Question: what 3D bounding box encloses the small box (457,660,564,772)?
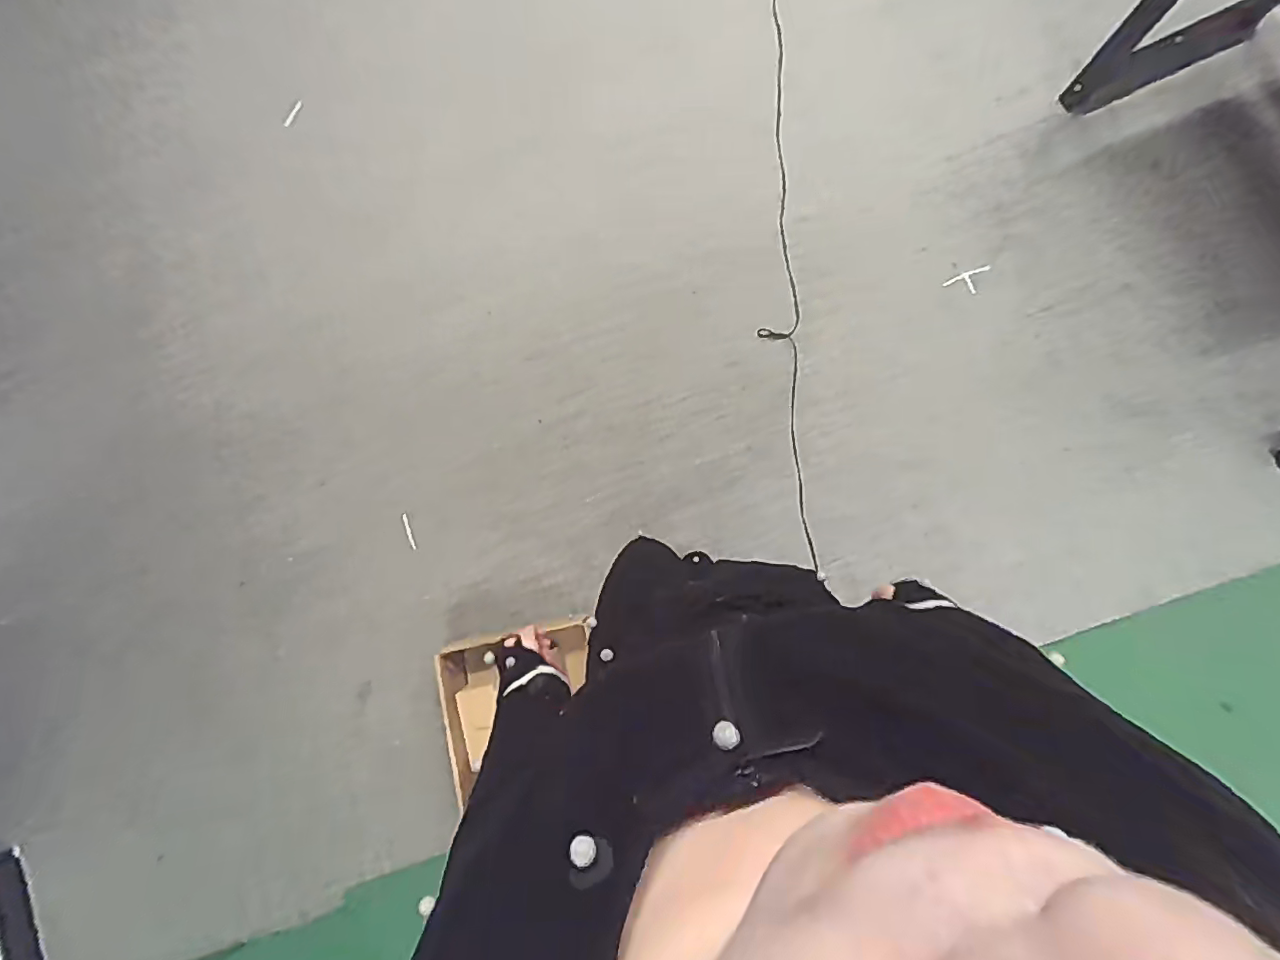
[{"bbox_3d":[-0.279,0.517,1.208,0.179,0.176,0.168,-15,84,4],"label":"small box"}]
